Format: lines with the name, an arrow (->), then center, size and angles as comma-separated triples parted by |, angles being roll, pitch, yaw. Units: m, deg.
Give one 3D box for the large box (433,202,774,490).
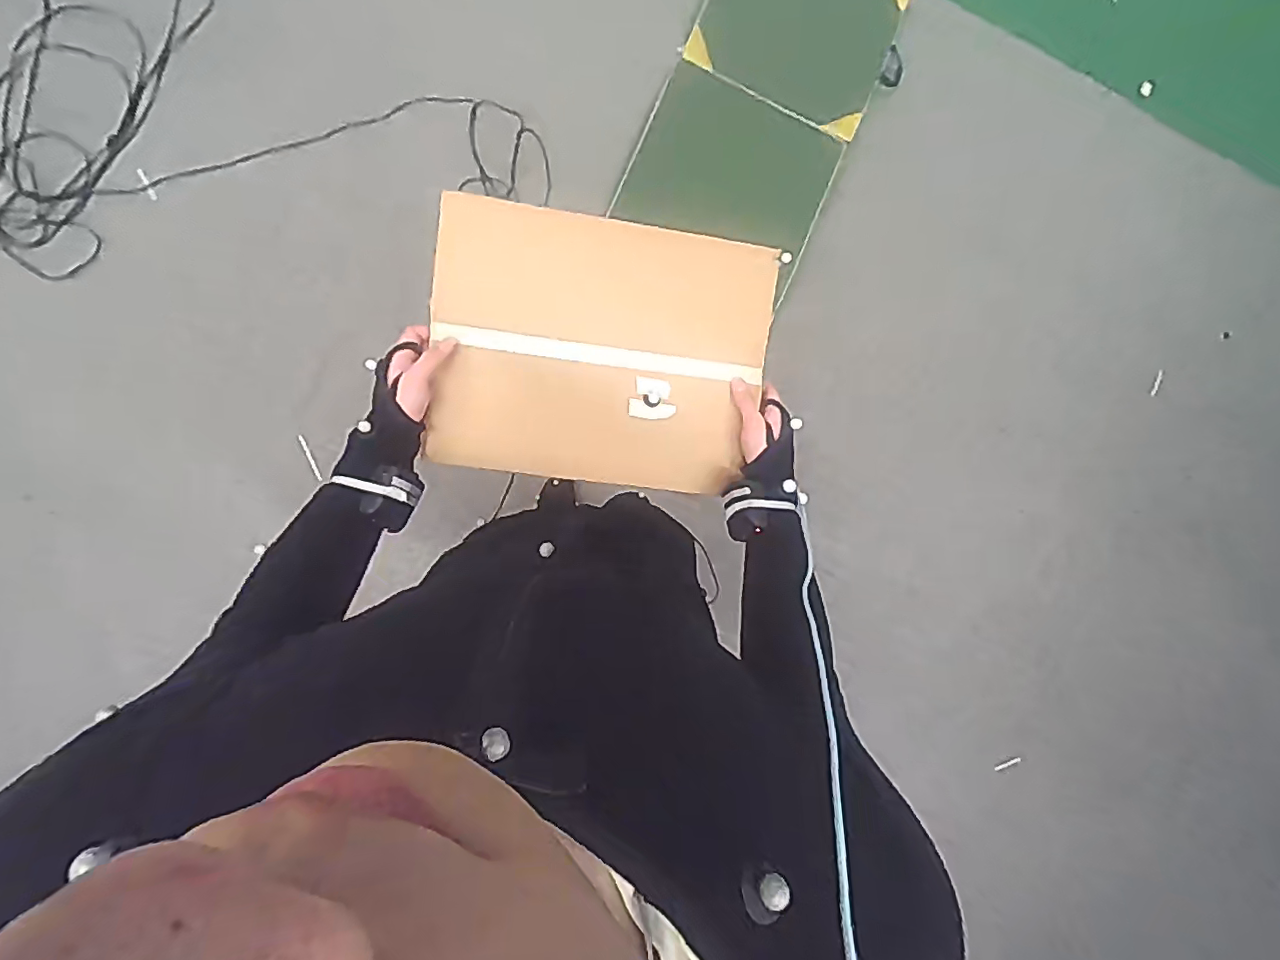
large box -> -0.062, -0.174, 0.816 | 0.408, 0.320, 0.320 | 7, 98, -8
